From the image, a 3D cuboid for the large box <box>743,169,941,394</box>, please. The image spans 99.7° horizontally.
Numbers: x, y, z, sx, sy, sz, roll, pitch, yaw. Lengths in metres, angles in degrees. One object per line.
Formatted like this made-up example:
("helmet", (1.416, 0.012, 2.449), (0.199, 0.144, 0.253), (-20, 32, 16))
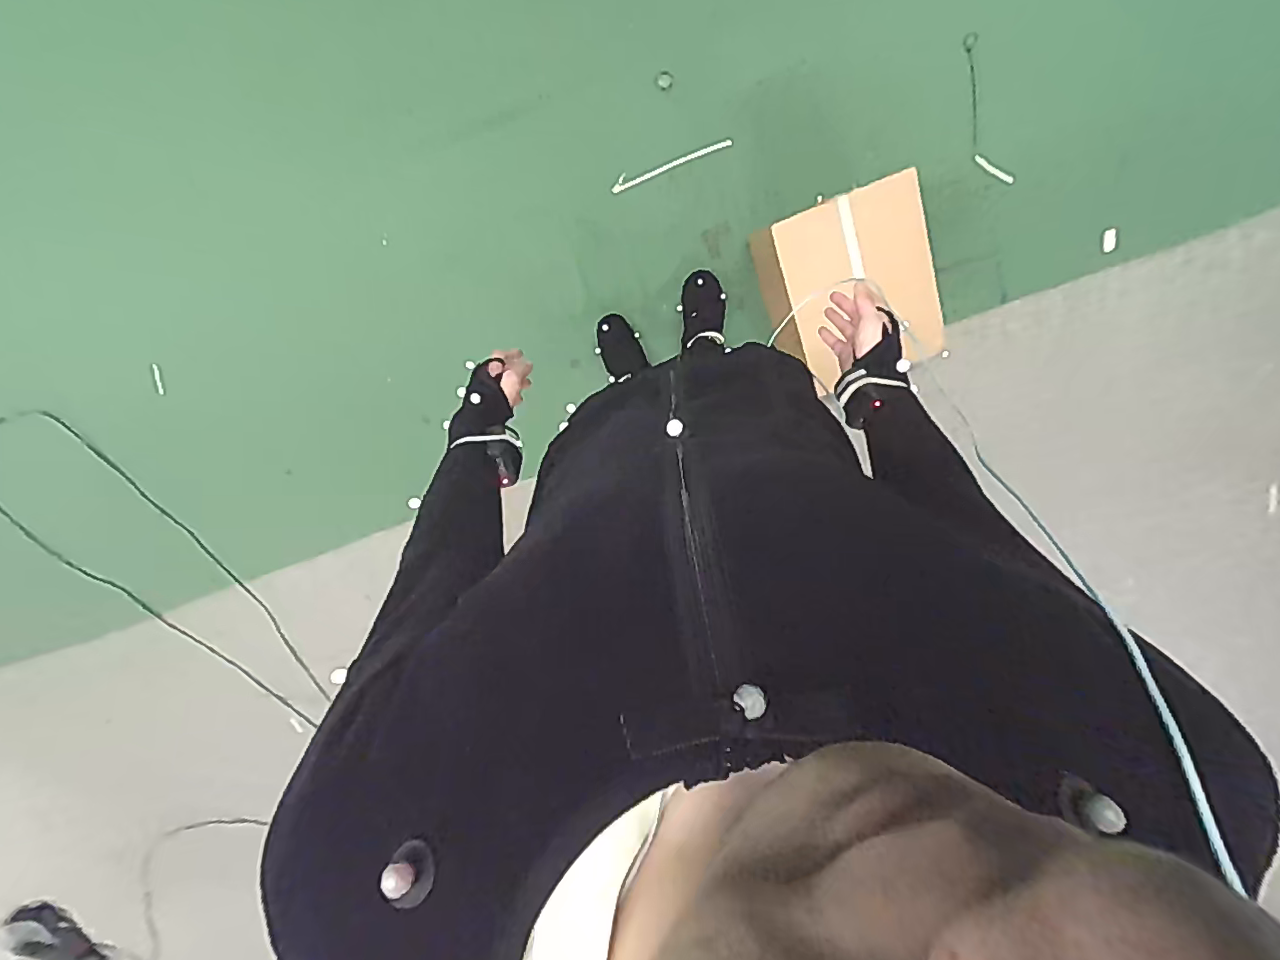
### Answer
("large box", (0.485, -0.483, 1.350), (0.320, 0.320, 0.408), (-20, 110, 9))
